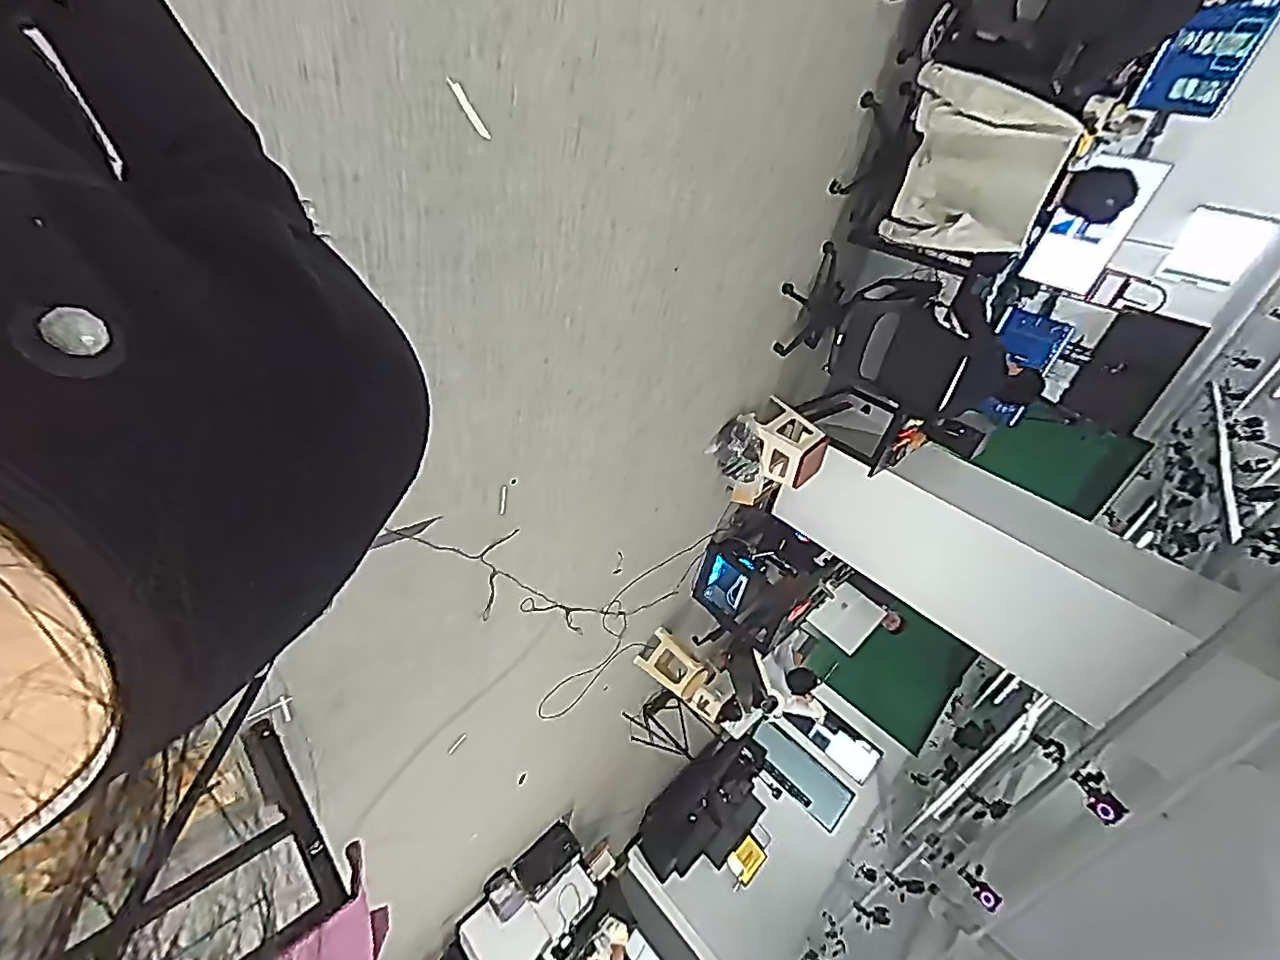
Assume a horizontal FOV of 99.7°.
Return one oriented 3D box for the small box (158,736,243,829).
[{"bbox_3d":[-1.421,0.968,1.749,0.168,0.176,0.179,-20,137,-43],"label":"small box"}]
